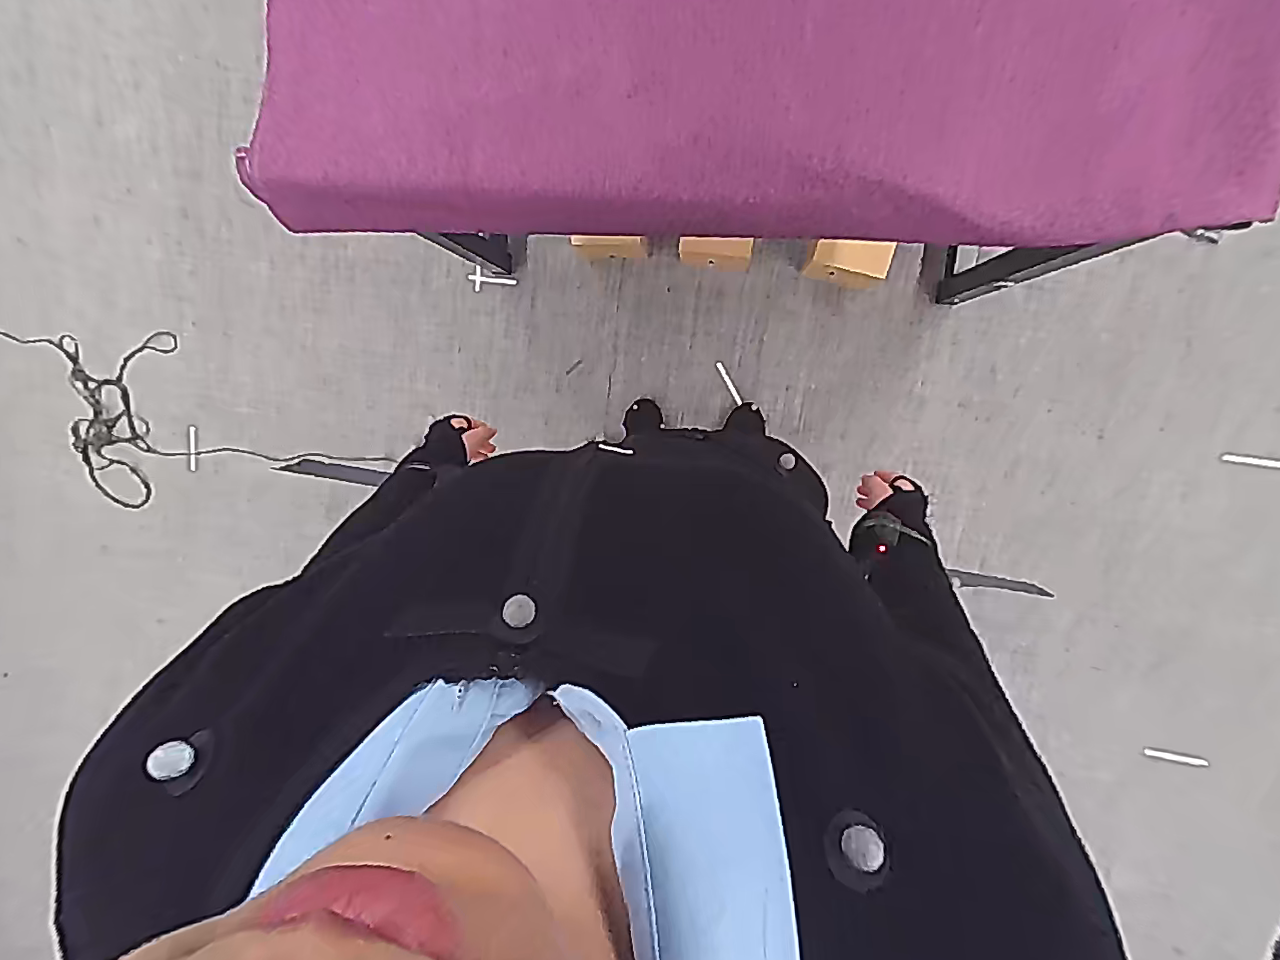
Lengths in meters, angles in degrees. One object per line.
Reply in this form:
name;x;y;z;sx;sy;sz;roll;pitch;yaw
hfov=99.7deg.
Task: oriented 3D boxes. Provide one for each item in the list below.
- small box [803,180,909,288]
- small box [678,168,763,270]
small box;0.492;-0.563;1.262;0.168;0.176;0.179;16;101;5
small box;0.189;-0.612;1.289;0.168;0.176;0.179;9;100;5
